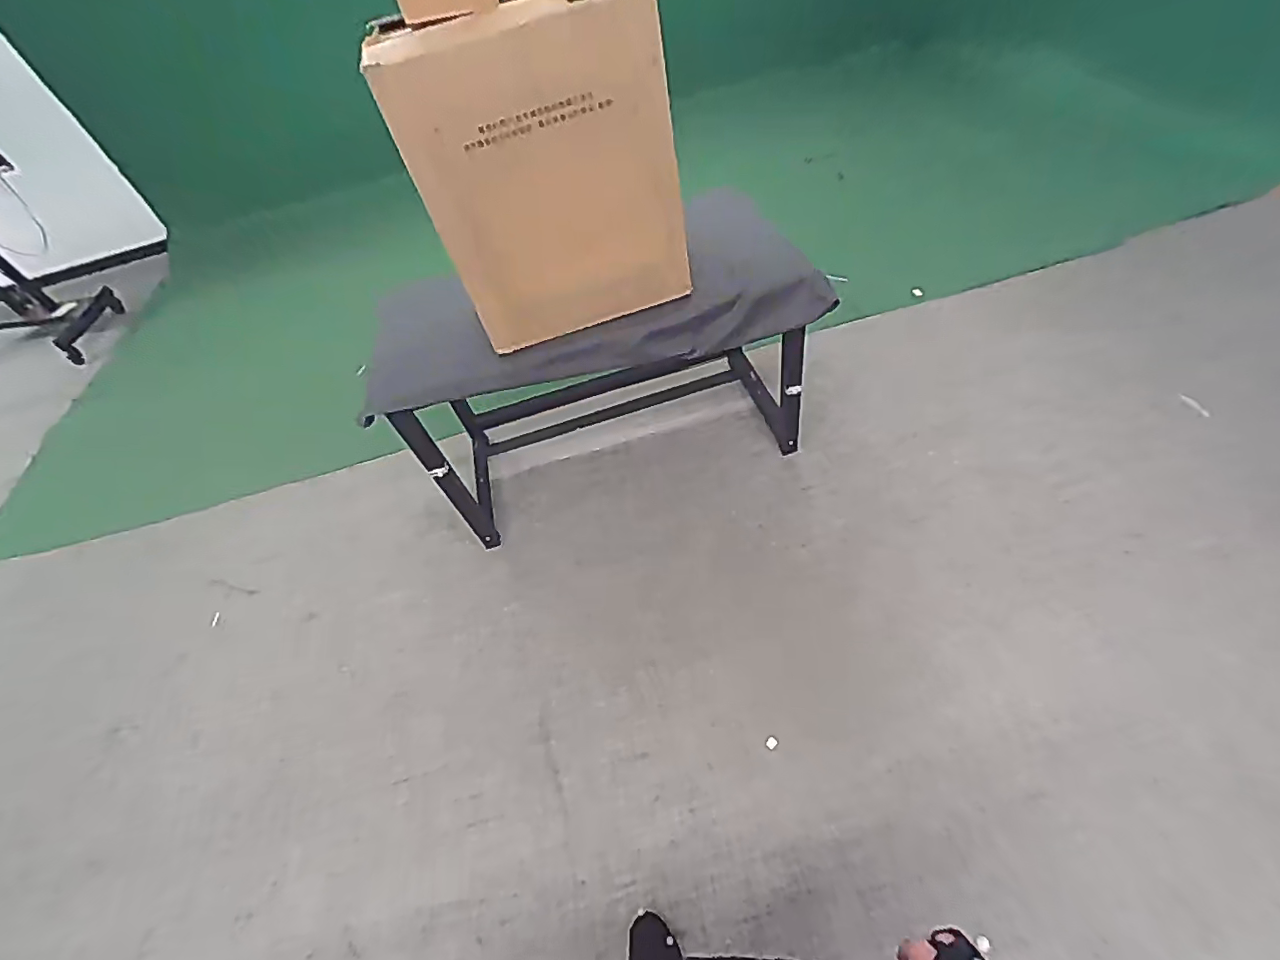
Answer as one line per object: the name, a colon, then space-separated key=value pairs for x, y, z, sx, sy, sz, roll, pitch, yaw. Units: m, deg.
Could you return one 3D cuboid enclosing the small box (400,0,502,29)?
small box: x=-0.359 y=-0.955 z=0.976 sx=0.179 sy=0.176 sz=0.168 roll=-7 pitch=59 yaw=6
